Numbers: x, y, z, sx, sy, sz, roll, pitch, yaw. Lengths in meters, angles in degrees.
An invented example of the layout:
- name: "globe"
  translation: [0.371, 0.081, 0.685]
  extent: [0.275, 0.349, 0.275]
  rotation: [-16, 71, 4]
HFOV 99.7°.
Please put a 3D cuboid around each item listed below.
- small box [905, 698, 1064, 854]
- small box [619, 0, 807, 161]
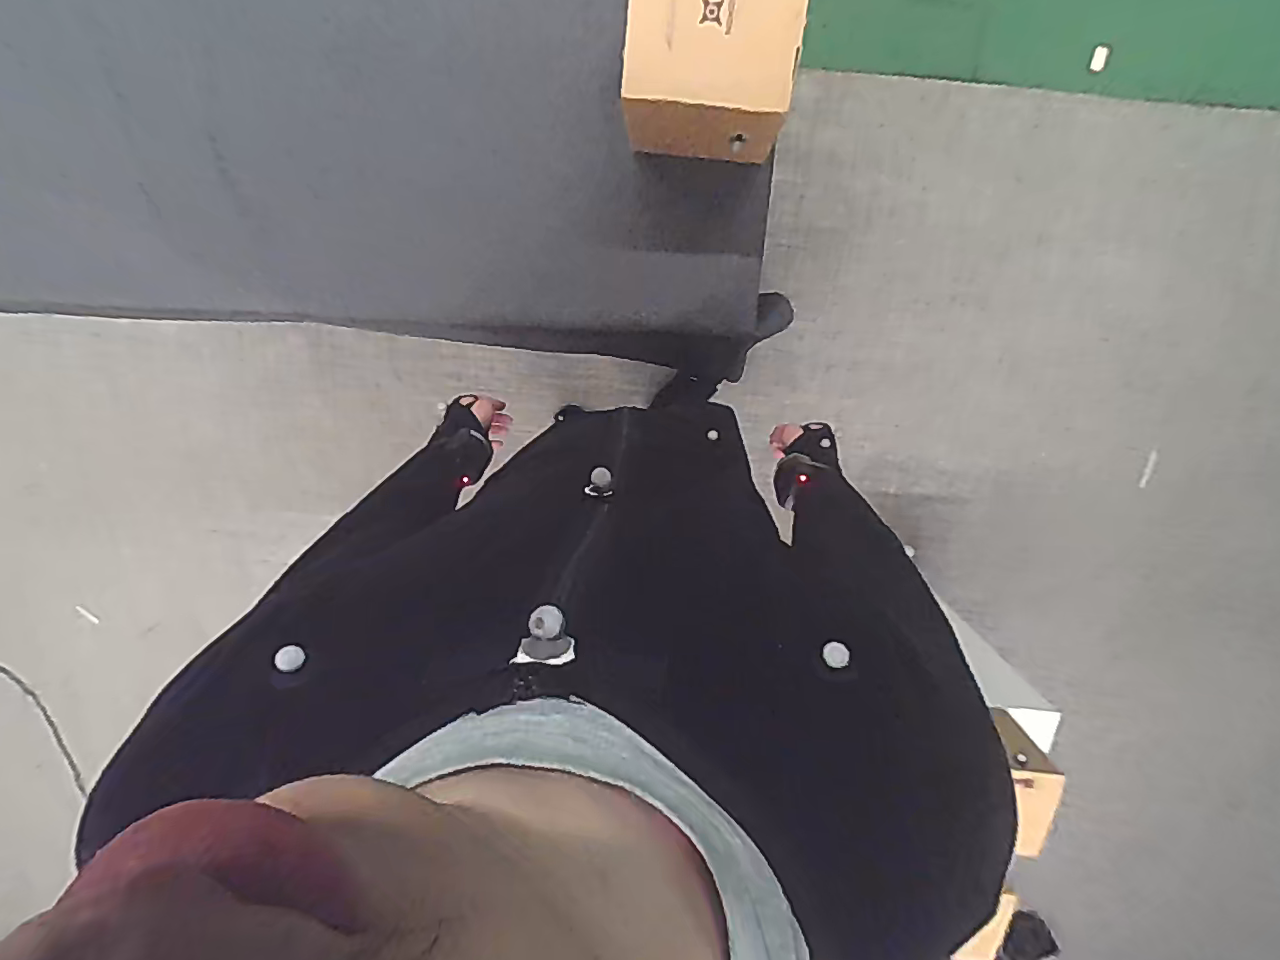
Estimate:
- name: "small box"
  translation: [0.613, 0.535, 0.990]
  extent: [0.168, 0.176, 0.179]
  rotation: [6, 107, 1]
- name: "small box"
  translation: [0.077, -0.475, 0.602]
  extent: [0.179, 0.176, 0.168]
  rotation: [6, 105, 3]
